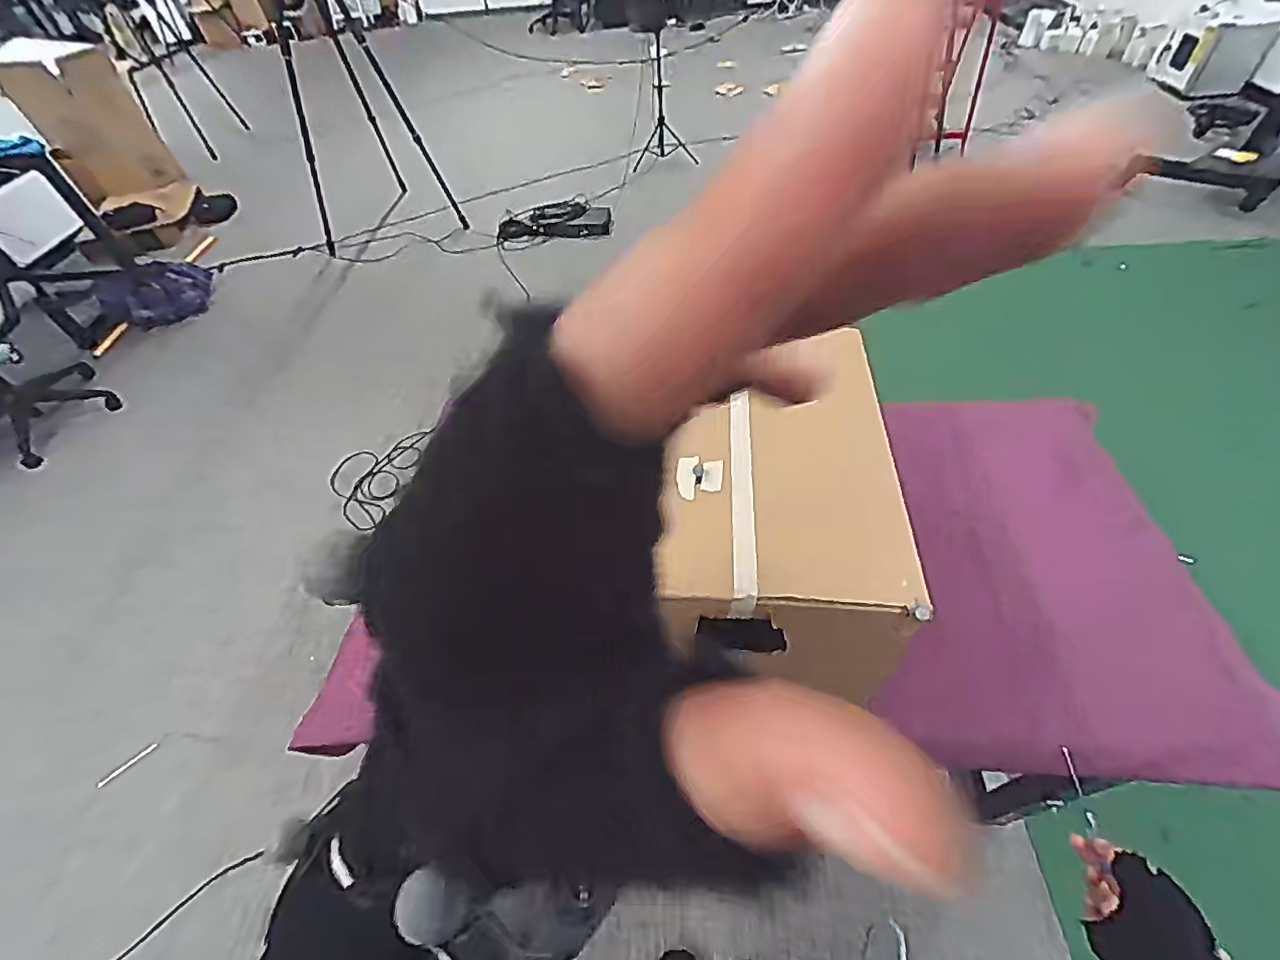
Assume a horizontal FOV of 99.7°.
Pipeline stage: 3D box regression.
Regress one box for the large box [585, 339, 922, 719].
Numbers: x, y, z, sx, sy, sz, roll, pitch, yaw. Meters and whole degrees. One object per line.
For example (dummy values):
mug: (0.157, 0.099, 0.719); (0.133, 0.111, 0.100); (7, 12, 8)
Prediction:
large box: (0.124, 0.059, 0.730); (0.320, 0.320, 0.408); (2, 51, 7)
